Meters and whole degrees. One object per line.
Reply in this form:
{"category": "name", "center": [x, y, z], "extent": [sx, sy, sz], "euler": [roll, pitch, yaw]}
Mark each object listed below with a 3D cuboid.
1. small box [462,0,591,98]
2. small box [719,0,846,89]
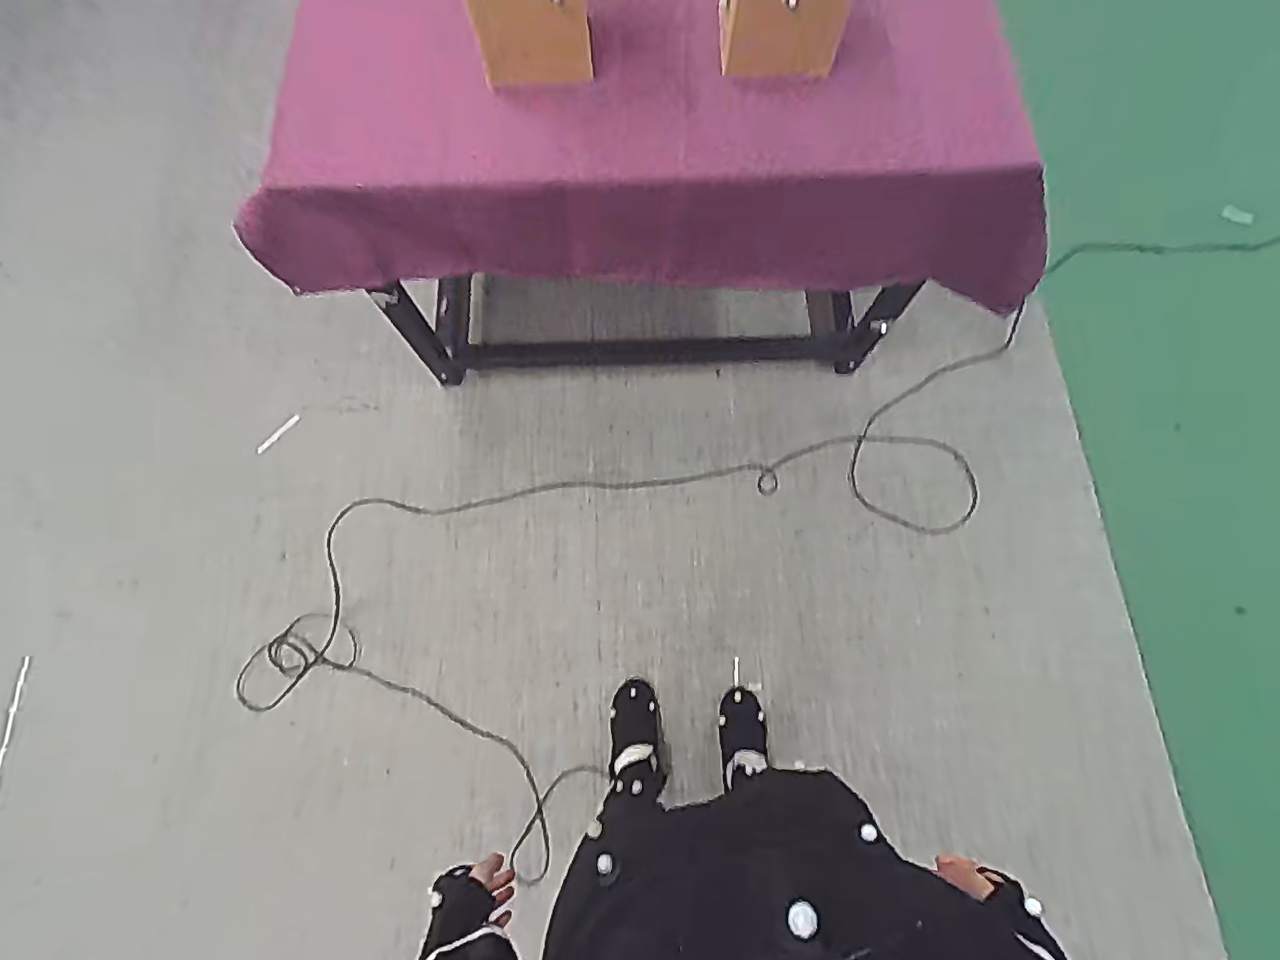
{"category": "small box", "center": [-0.176, -0.739, 0.851], "extent": [0.179, 0.176, 0.168], "euler": [-6, 73, -2]}
{"category": "small box", "center": [0.219, -0.753, 0.849], "extent": [0.179, 0.176, 0.168], "euler": [0, 74, 0]}
